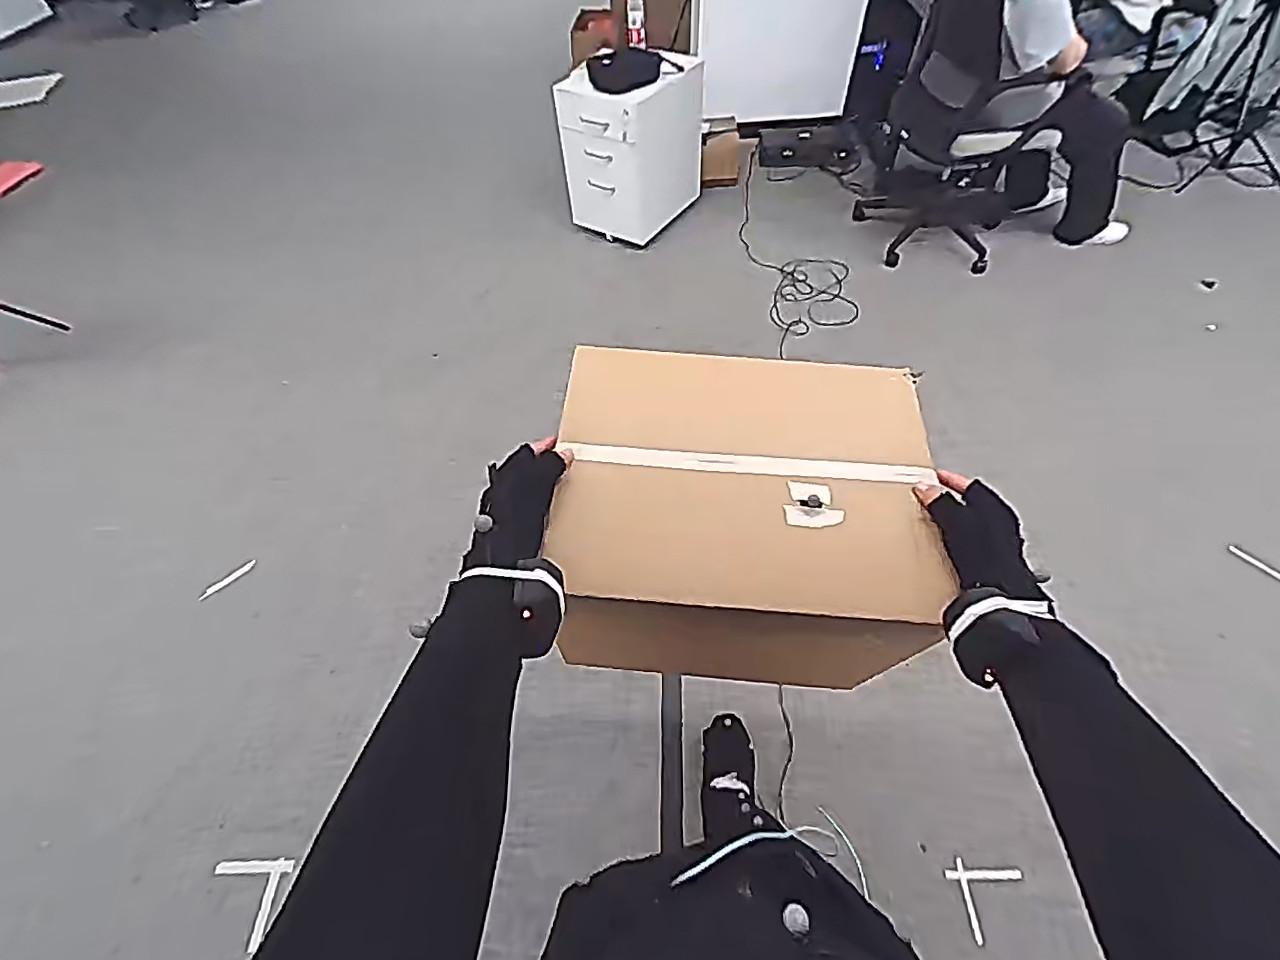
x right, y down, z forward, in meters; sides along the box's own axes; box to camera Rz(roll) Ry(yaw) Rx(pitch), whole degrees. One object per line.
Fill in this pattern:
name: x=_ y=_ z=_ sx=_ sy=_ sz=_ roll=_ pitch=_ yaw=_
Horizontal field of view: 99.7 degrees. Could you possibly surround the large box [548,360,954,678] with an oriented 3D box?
large box: x=0.110 y=0.067 z=0.724 sx=0.408 sy=0.320 sz=0.320 roll=4 pitch=60 yaw=1
